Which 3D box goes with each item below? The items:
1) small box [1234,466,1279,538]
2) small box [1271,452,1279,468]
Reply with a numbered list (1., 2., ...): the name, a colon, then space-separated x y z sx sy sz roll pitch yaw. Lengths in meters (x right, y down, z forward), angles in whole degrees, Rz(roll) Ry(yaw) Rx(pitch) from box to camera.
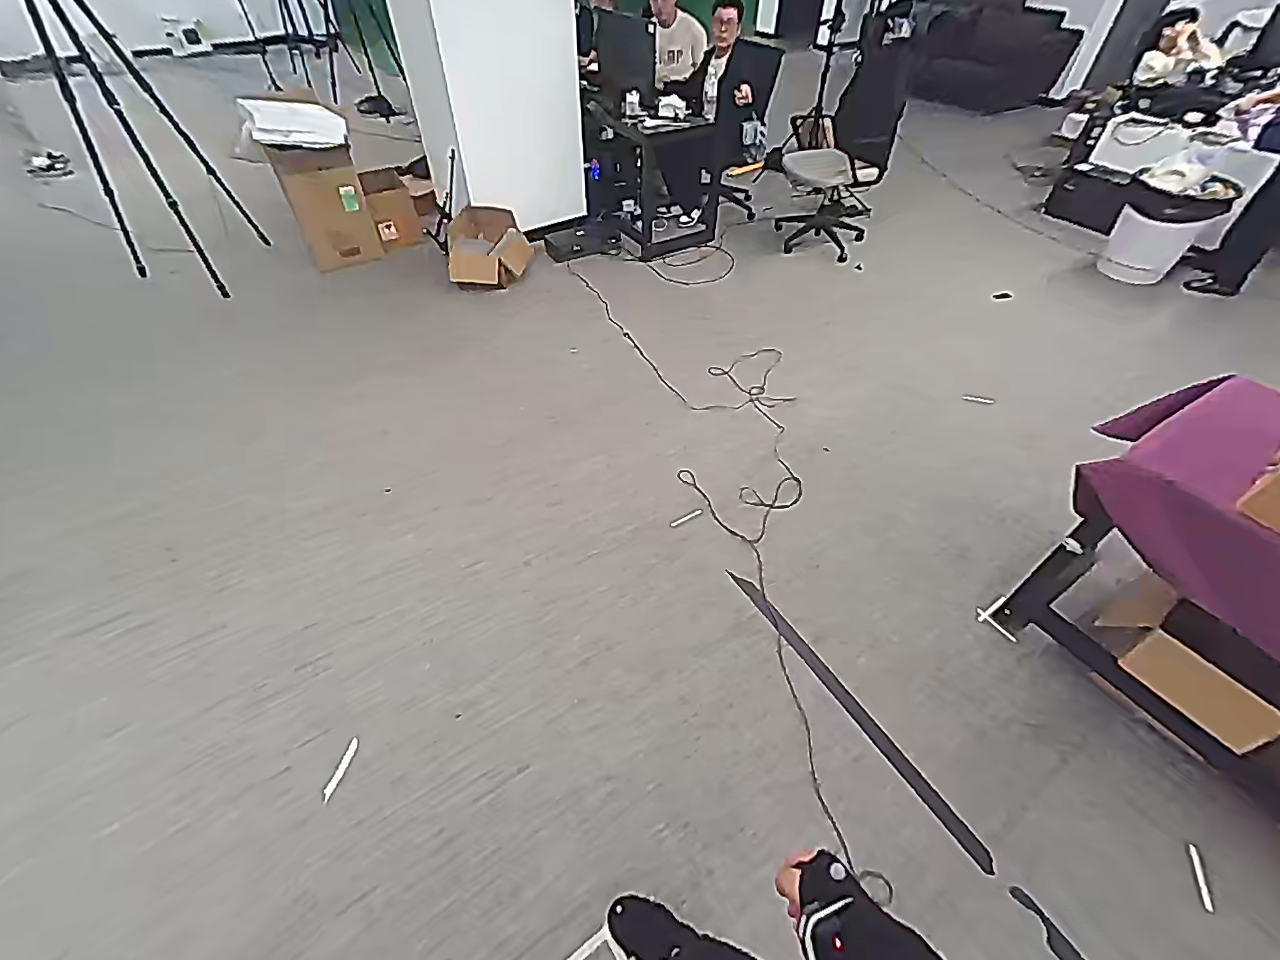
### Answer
1. small box: 1.386 0.035 1.090 0.168 0.176 0.179 -26 53 -22
2. small box: 1.580 -0.070 1.190 0.168 0.176 0.179 -28 54 -23
